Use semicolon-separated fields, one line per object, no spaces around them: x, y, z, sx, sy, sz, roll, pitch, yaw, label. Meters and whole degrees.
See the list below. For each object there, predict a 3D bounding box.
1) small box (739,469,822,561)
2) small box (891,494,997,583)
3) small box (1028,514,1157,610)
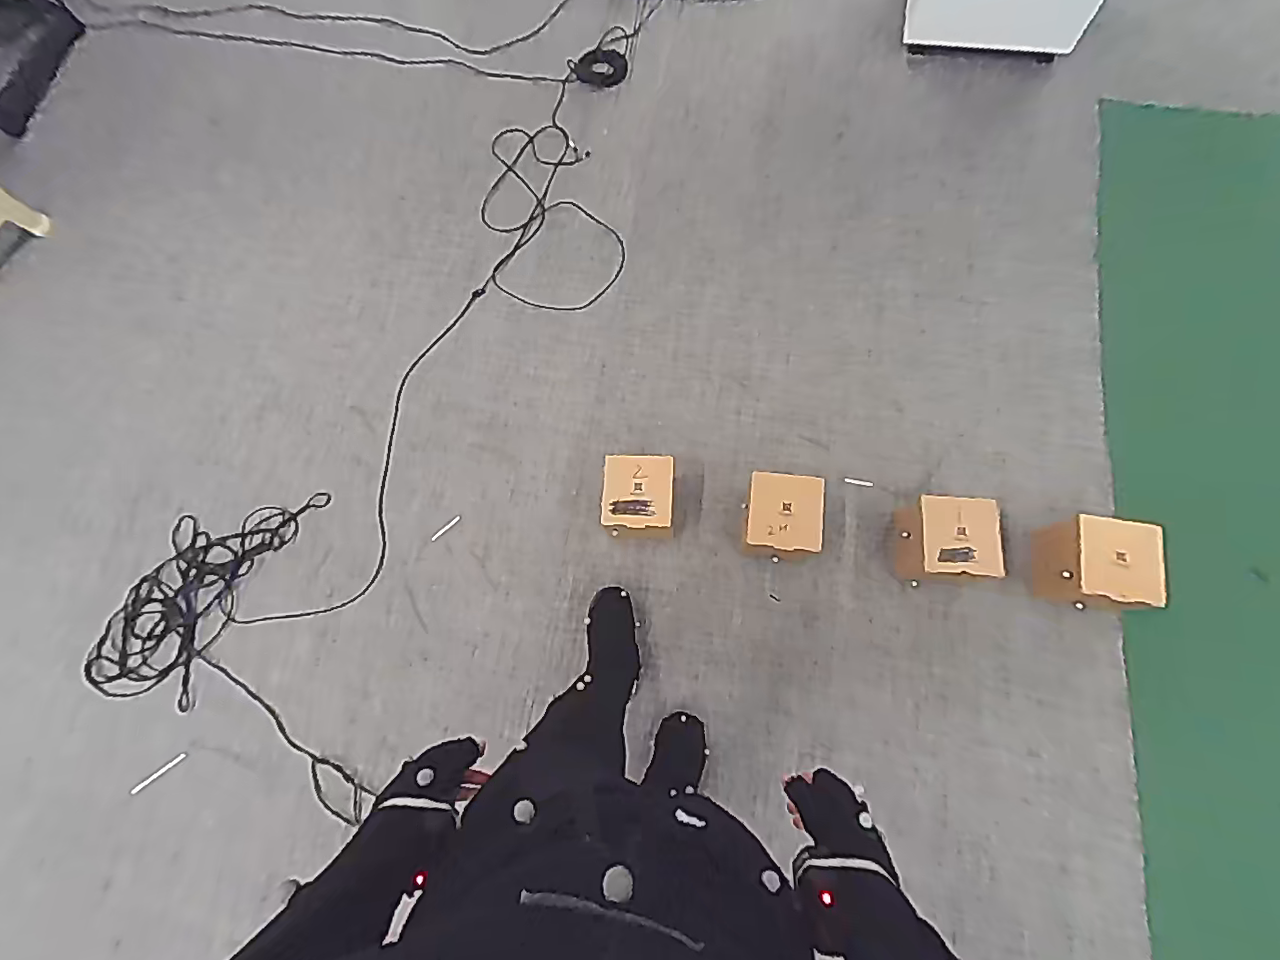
0.336;0.089;1.313;0.168;0.176;0.179;6;74;7;small box
0.705;0.143;1.273;0.168;0.176;0.179;4;73;5;small box
1.024;0.192;1.238;0.168;0.176;0.179;9;74;7;small box
